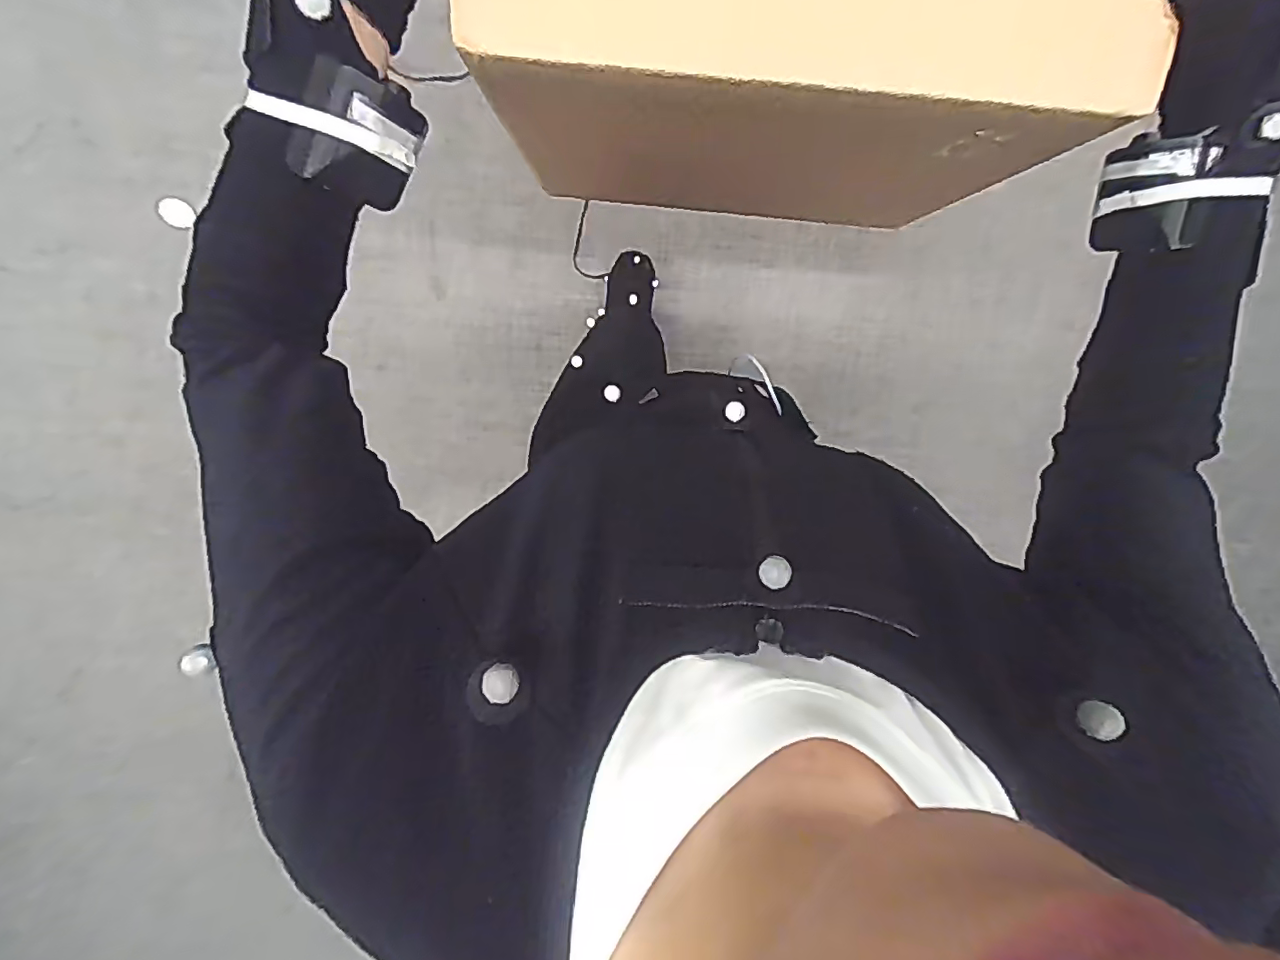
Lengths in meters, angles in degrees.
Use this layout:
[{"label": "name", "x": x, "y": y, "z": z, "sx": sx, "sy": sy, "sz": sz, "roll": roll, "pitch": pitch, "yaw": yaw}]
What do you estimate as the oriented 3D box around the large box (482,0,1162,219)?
[{"label": "large box", "x": 0.108, "y": -0.420, "z": 0.431, "sx": 0.408, "sy": 0.320, "sz": 0.320, "roll": 4, "pitch": 104, "yaw": -2}]
